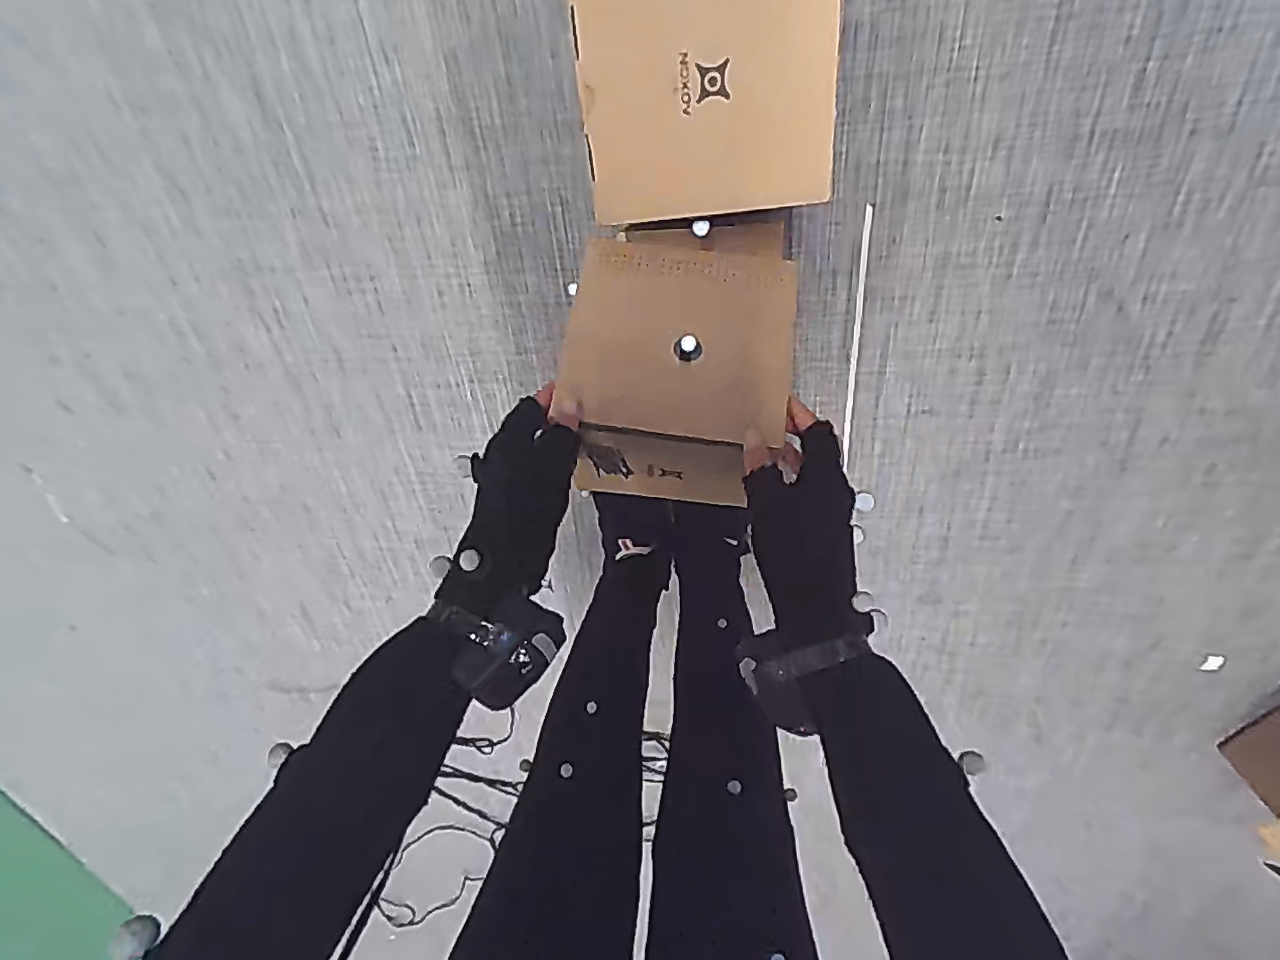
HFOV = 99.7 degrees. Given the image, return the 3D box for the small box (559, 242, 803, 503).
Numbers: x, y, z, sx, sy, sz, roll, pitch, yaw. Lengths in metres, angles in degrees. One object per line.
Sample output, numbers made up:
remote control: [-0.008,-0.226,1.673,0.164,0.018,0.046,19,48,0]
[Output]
small box: [0.038,-0.090,0.491,0.179,0.176,0.168,7,164,4]
